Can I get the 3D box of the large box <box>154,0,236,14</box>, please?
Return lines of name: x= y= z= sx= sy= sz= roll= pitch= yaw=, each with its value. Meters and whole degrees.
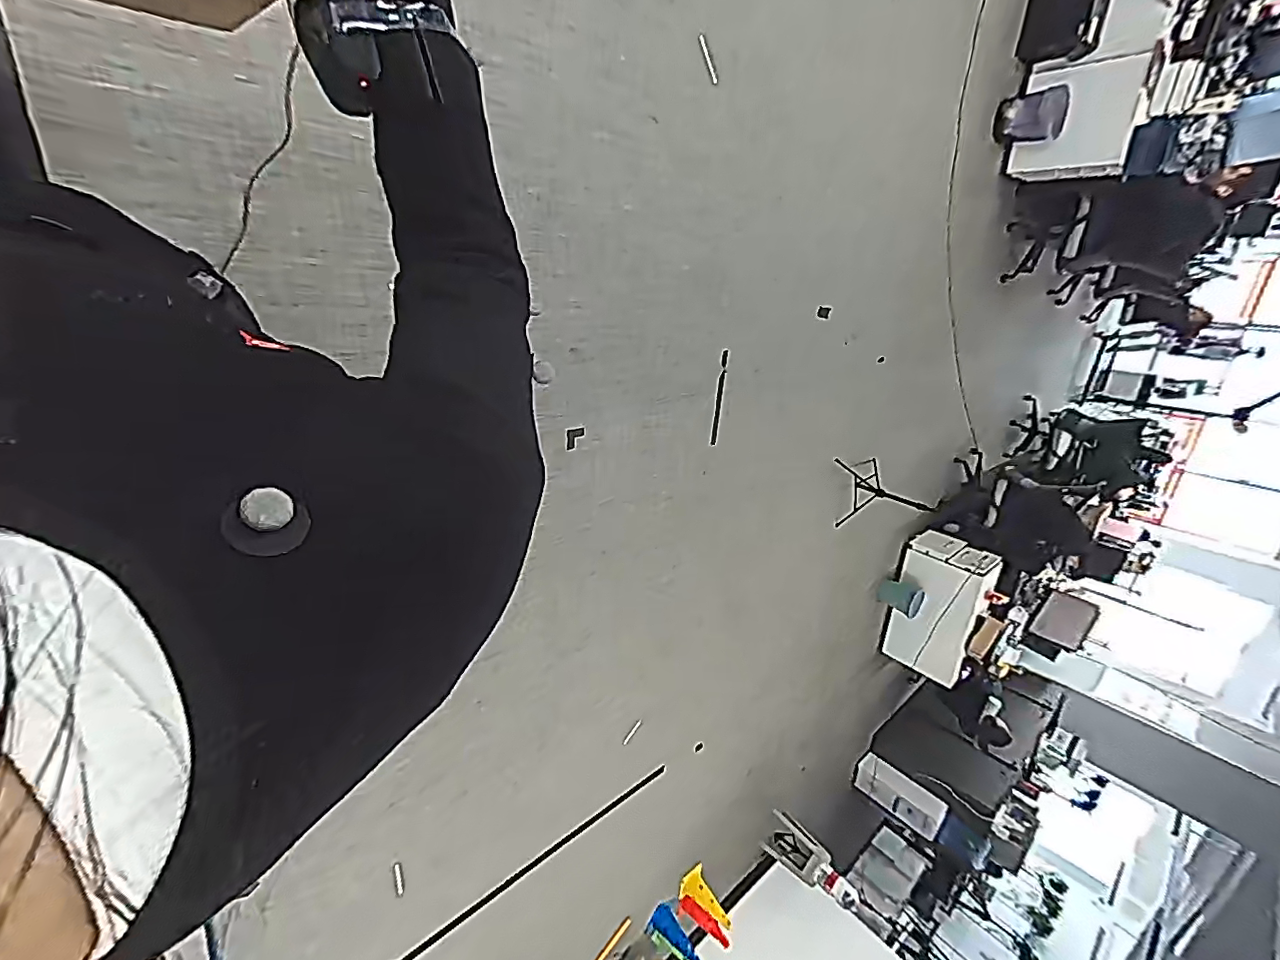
large box: x=-0.429 y=-0.457 z=0.223 sx=0.408 sy=0.320 sz=0.320 roll=-16 pitch=128 yaw=-37
